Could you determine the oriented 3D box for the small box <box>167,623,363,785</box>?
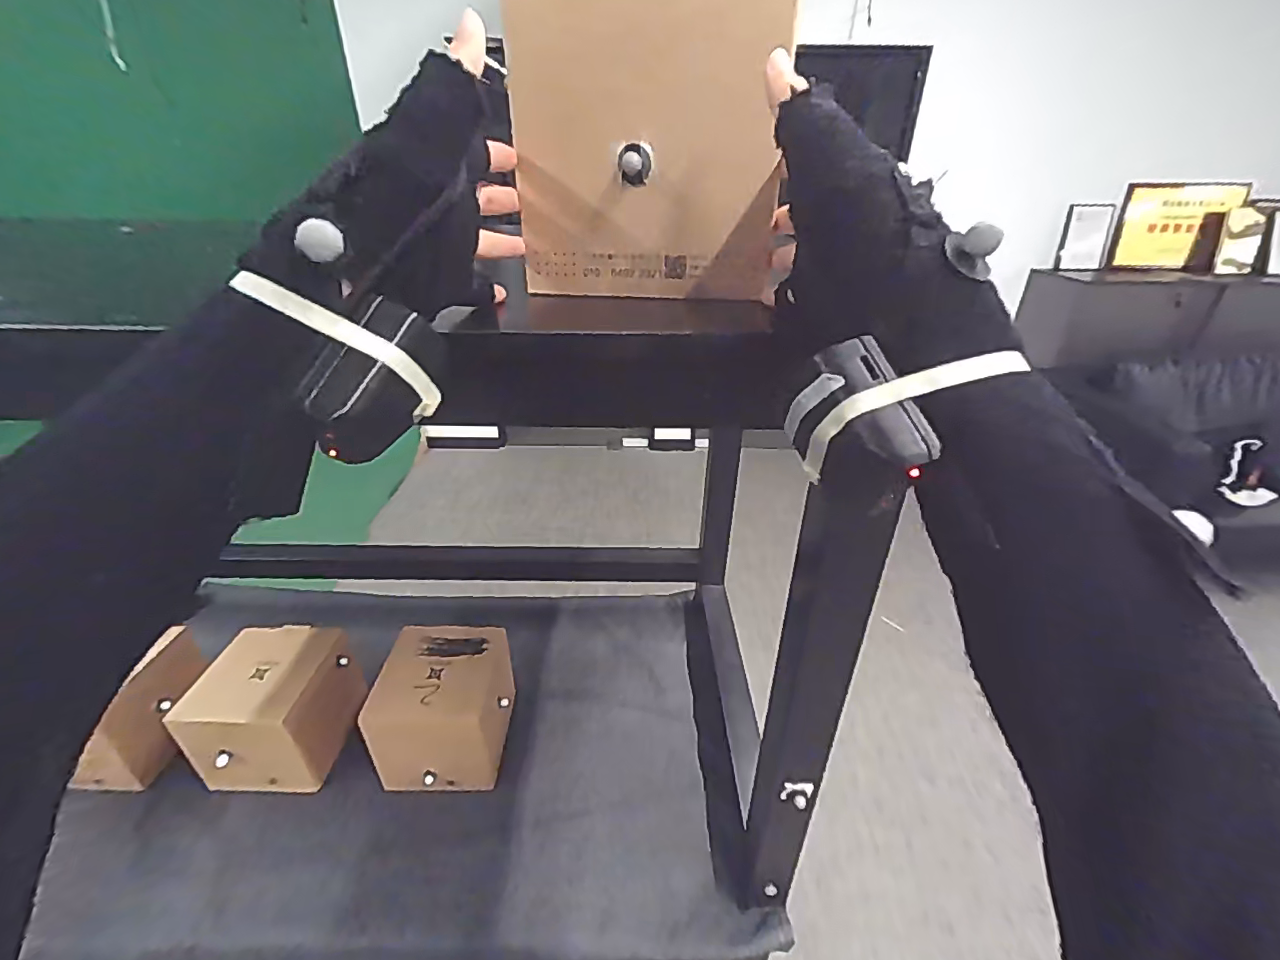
[{"bbox_3d":[-0.561,0.347,0.844,0.168,0.176,0.179,1,30,0],"label":"small box"}]

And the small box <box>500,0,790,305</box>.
[{"bbox_3d":[0.014,-0.234,0.403,0.168,0.176,0.179,5,30,7],"label":"small box"}]

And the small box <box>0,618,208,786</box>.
[{"bbox_3d":[-0.814,0.340,0.843,0.168,0.176,0.179,1,31,1],"label":"small box"}]
